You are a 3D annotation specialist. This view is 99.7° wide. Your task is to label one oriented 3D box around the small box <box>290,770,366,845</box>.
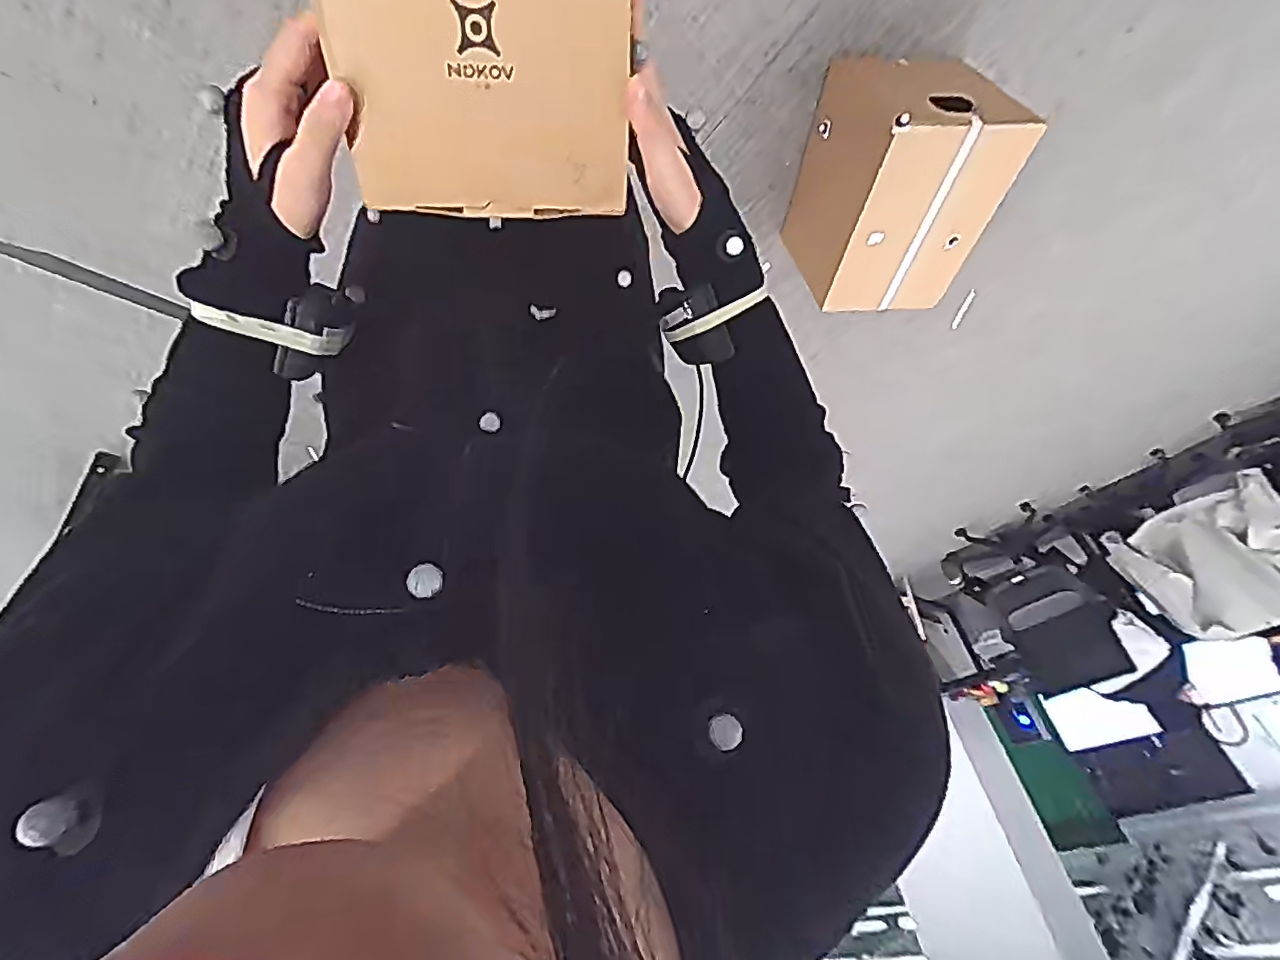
[{"bbox_3d":[-0.970,1.016,1.688,0.168,0.176,0.179,17,137,-35],"label":"small box"}]
